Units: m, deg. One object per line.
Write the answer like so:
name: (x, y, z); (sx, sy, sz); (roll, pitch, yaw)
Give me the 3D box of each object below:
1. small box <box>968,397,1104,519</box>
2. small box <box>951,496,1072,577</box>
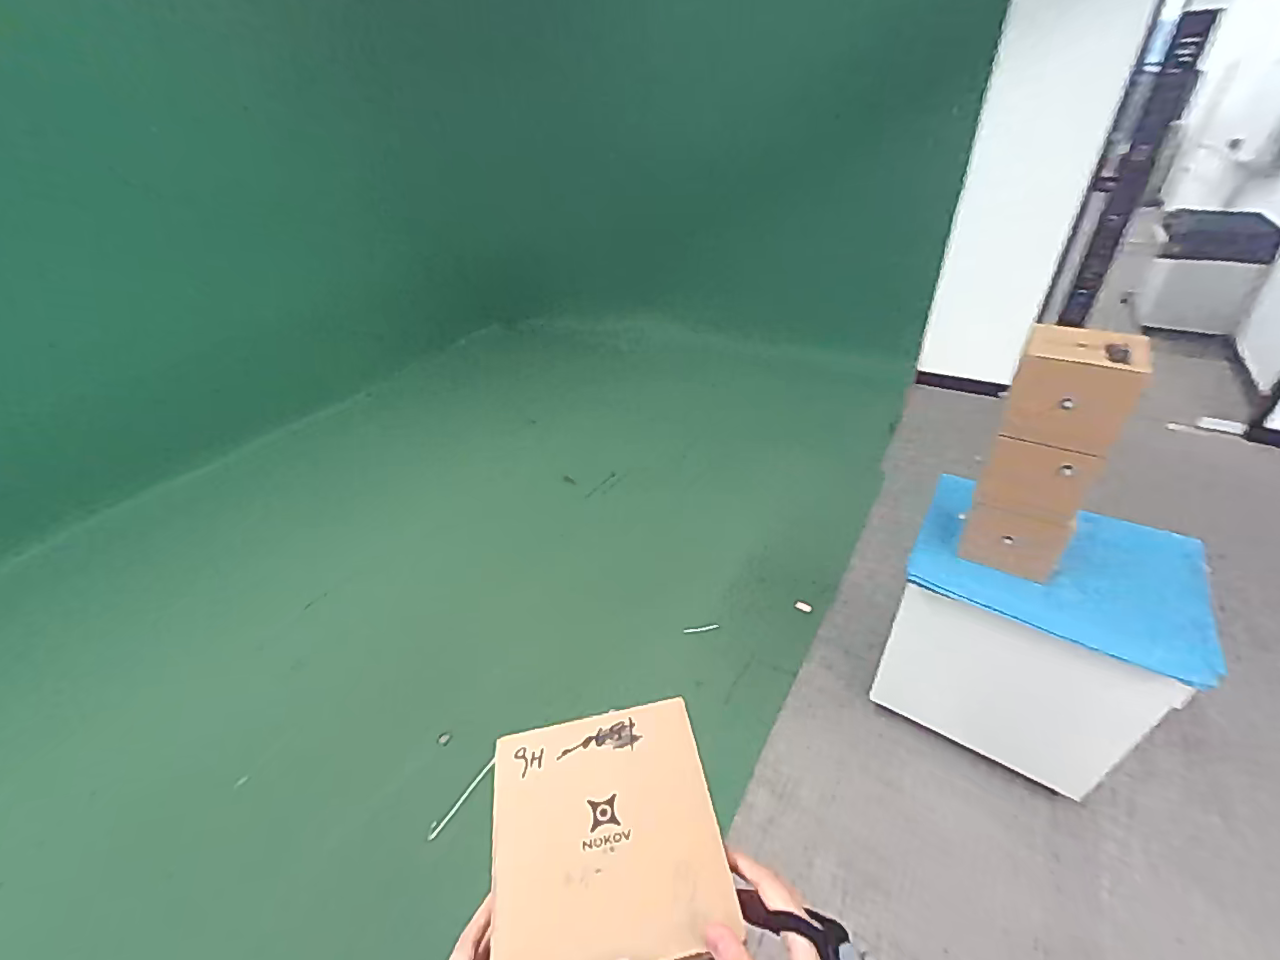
small box: (0.806, -0.044, 1.107); (0.179, 0.176, 0.168); (19, 42, 28)
small box: (0.824, 0.088, 1.203); (0.179, 0.176, 0.168); (19, 42, 28)
